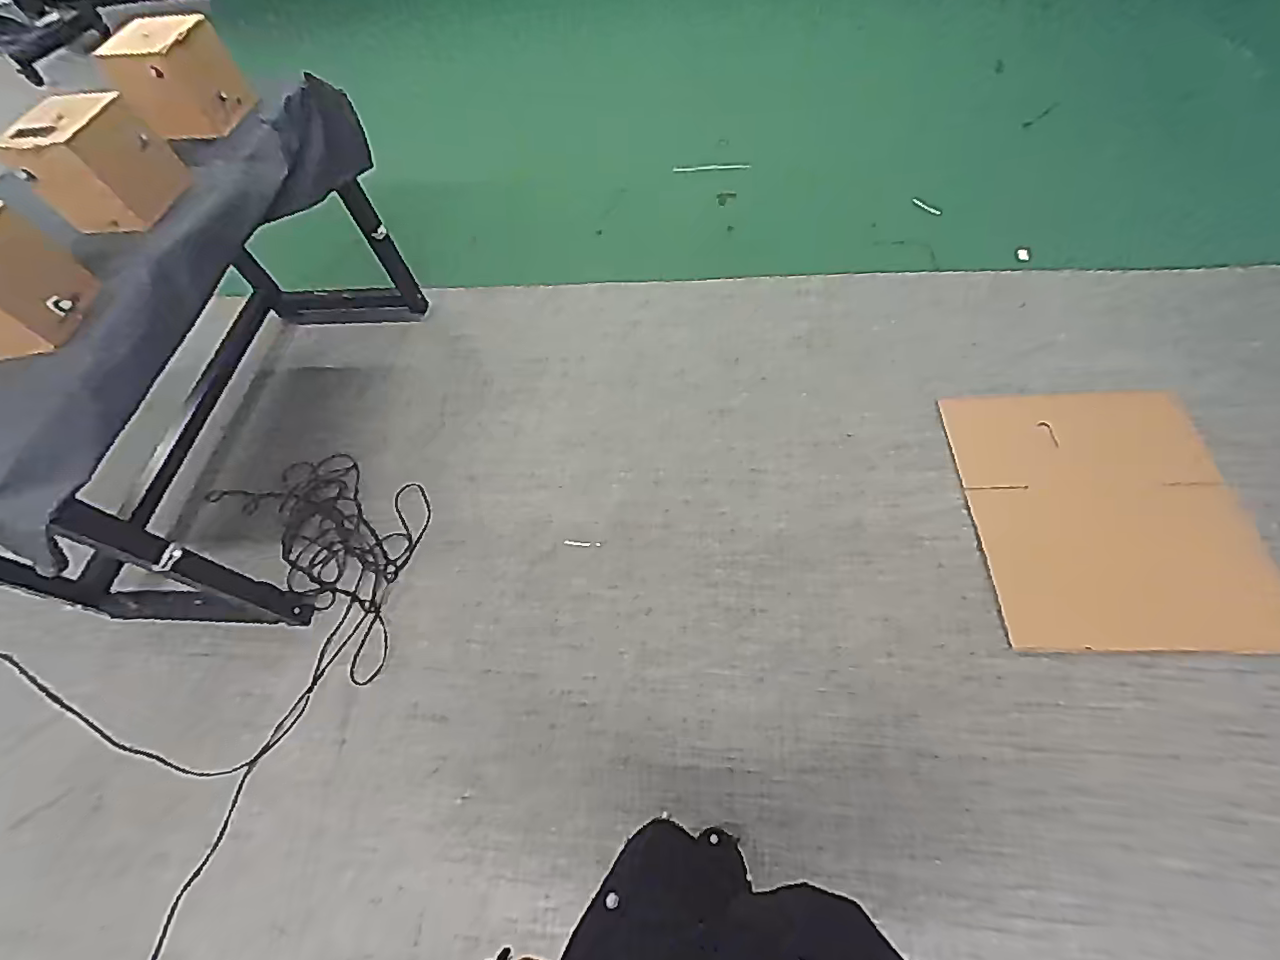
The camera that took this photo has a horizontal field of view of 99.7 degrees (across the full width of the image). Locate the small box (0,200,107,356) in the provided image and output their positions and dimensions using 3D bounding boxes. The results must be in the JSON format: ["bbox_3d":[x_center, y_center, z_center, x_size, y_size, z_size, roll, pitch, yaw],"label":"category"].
[{"bbox_3d":[-1.053,-0.319,0.879,0.179,0.176,0.168,-5,61,3],"label":"small box"}]

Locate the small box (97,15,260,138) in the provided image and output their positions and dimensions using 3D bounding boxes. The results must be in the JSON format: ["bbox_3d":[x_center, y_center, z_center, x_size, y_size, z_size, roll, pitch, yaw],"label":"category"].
[{"bbox_3d":[-1.006,-0.886,1.197,0.179,0.176,0.168,4,61,9],"label":"small box"}]
